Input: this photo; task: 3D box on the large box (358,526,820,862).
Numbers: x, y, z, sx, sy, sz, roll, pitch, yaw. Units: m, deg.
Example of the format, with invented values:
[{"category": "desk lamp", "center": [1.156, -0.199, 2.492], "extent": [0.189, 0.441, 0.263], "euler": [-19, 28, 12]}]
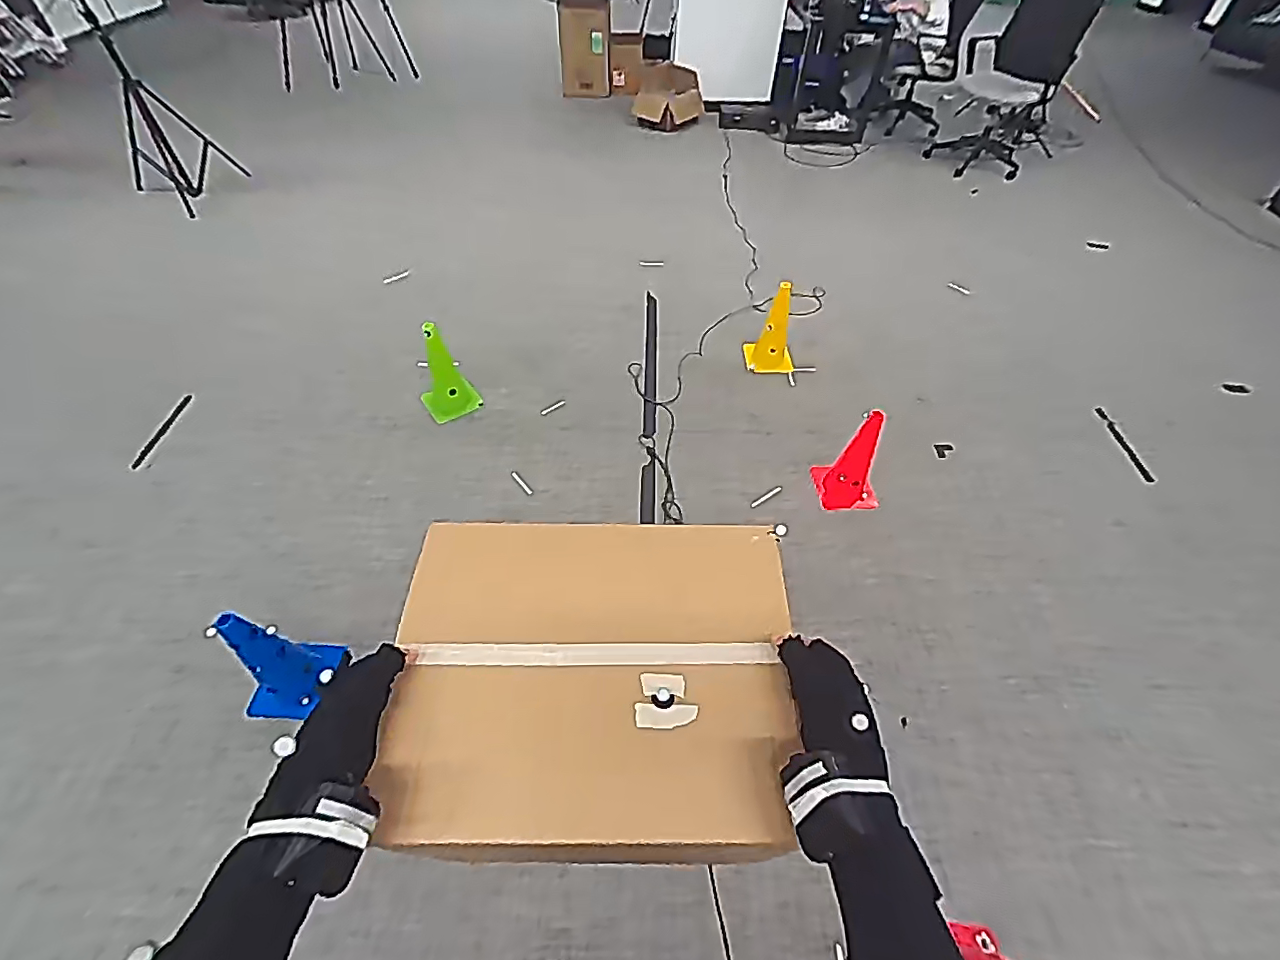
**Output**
[{"category": "large box", "center": [-0.047, 0.268, 0.665], "extent": [0.408, 0.320, 0.320], "euler": [1, 52, -1]}]

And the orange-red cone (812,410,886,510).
[{"category": "orange-red cone", "center": [0.728, -0.089, 1.791], "extent": [0.198, 0.360, 0.199], "euler": [0, 48, -2]}]

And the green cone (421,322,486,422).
[{"category": "green cone", "center": [-0.748, -0.435, 2.045], "extent": [0.202, 0.368, 0.200], "euler": [-30, 56, -22]}]

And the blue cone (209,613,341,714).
[{"category": "blue cone", "center": [-0.923, 0.428, 1.334], "extent": [0.192, 0.380, 0.193], "euler": [3, 50, 3]}]
